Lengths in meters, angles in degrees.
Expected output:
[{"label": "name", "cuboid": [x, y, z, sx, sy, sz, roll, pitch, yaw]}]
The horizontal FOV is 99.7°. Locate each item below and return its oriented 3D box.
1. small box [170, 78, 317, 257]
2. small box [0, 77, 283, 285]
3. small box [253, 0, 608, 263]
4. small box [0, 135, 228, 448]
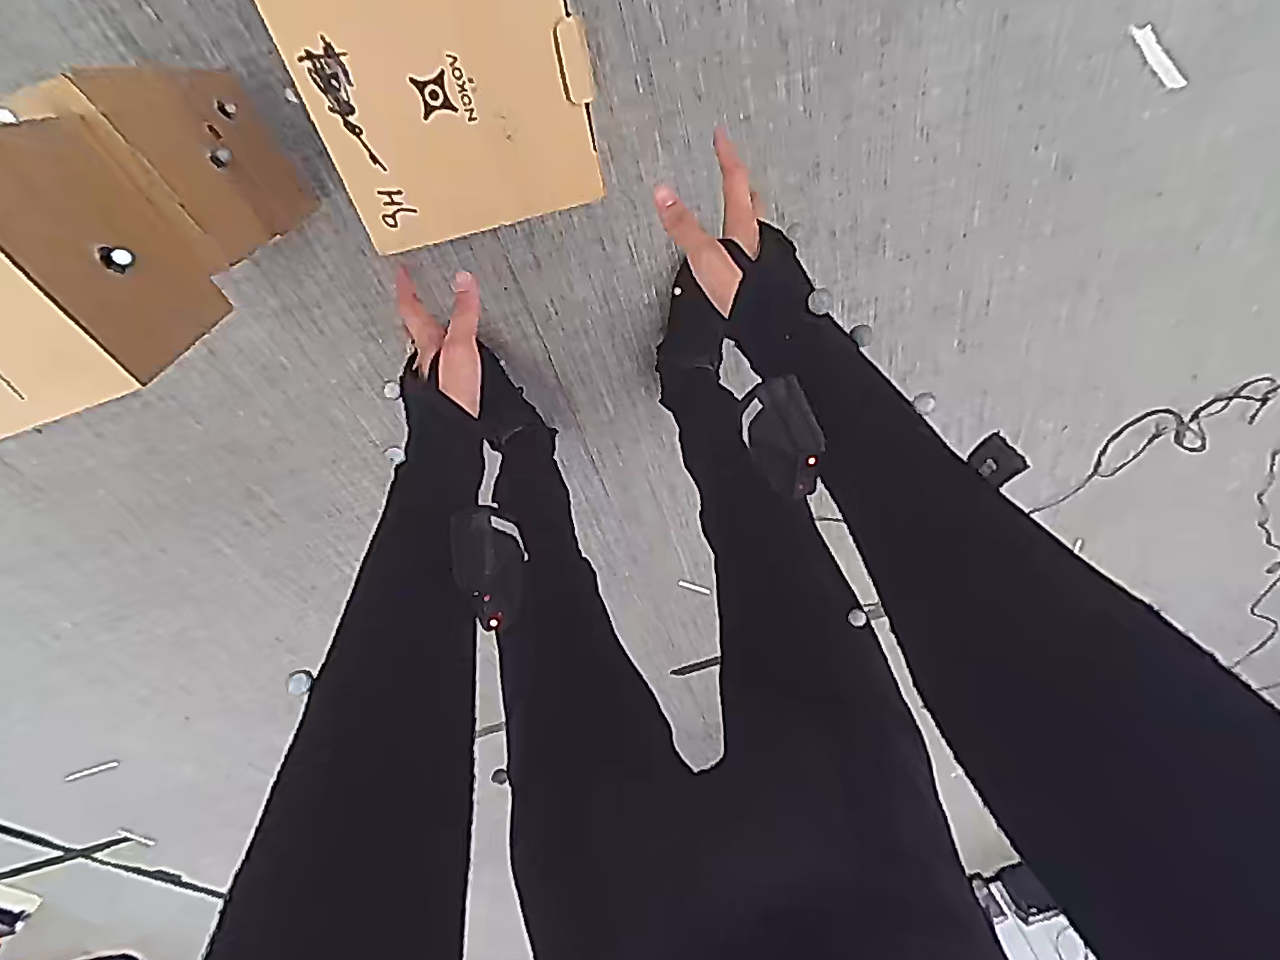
[{"label": "small box", "cuboid": [-0.552, -0.370, 0.675, 0.168, 0.176, 0.179, -20, 129, 5]}, {"label": "small box", "cuboid": [-0.514, -0.277, 0.546, 0.179, 0.176, 0.168, -21, 129, 6]}, {"label": "small box", "cuboid": [-0.136, -0.289, 0.406, 0.179, 0.176, 0.168, -15, 129, -2]}, {"label": "small box", "cuboid": [-0.496, -0.154, 0.435, 0.168, 0.176, 0.179, -18, 130, 4]}]
